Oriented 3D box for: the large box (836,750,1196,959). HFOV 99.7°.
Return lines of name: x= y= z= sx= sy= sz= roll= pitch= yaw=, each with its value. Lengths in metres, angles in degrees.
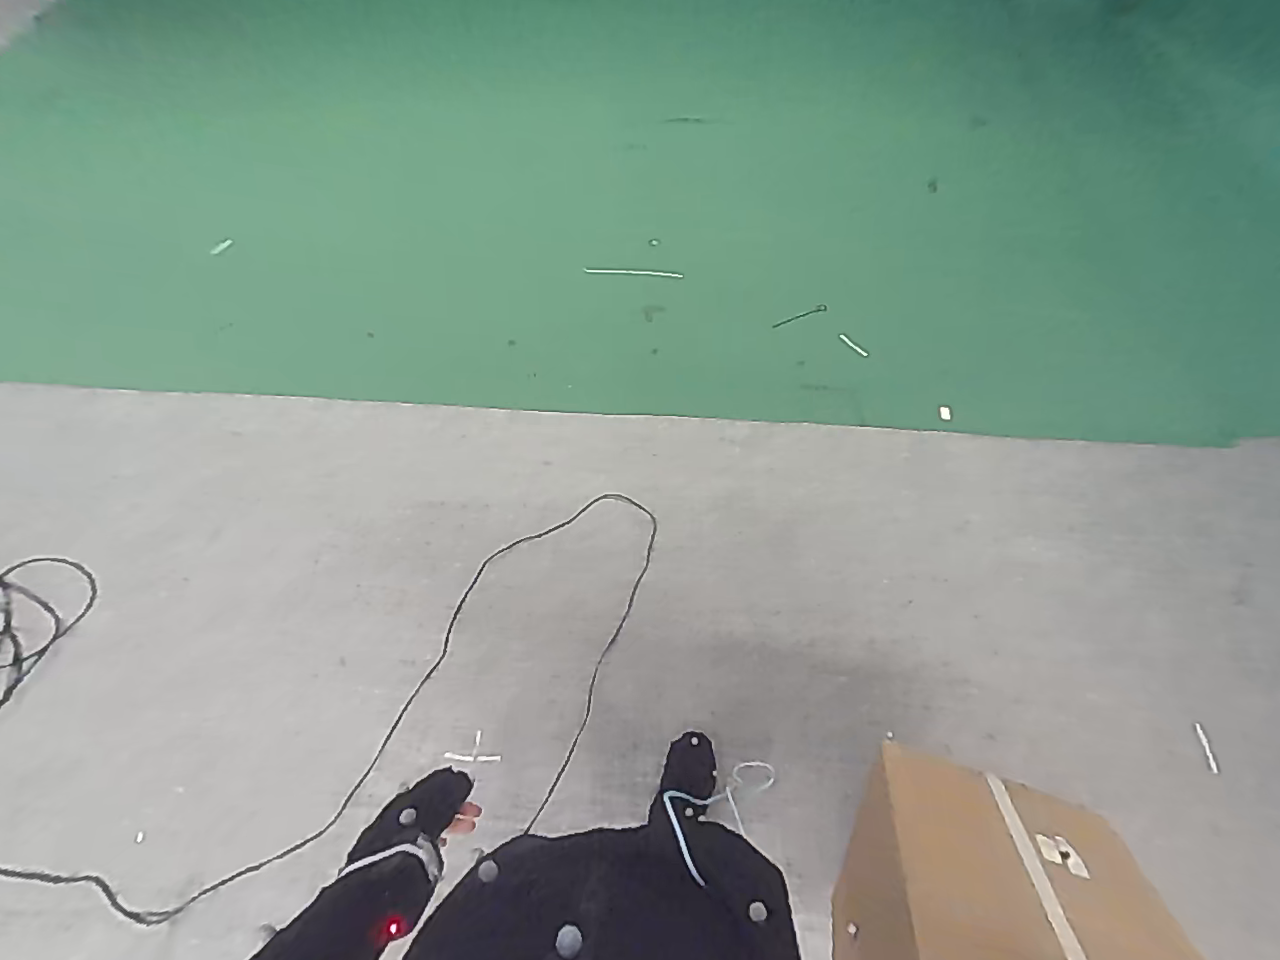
large box: x=0.438 y=0.631 z=0.660 sx=0.320 sy=0.408 sz=0.320 roll=15 pitch=101 yaw=16
